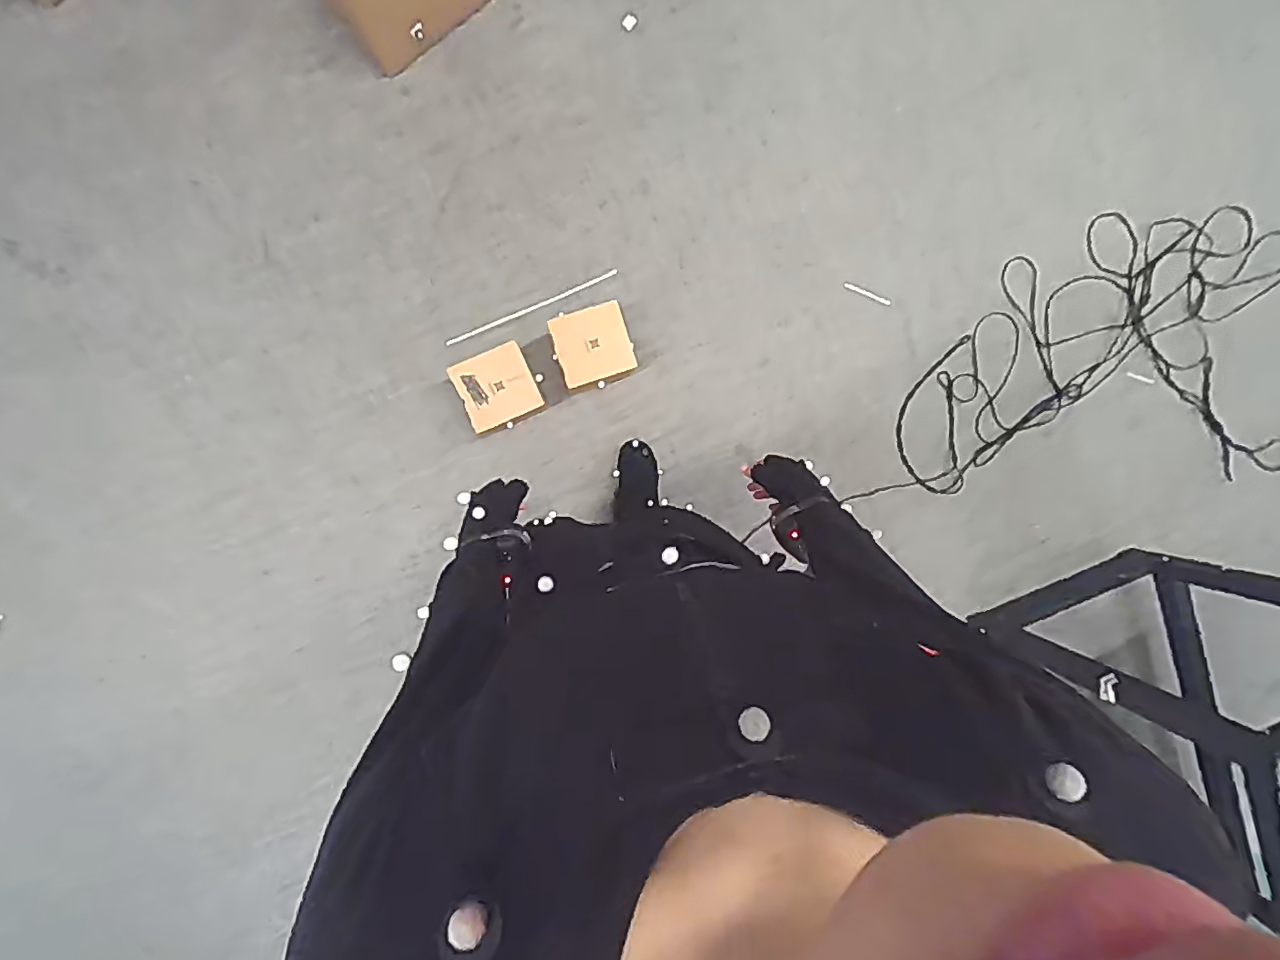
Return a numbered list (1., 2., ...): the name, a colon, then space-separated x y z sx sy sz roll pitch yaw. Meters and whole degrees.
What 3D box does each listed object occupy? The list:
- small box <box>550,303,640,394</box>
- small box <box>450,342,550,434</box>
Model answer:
1. small box: -0.112 -0.320 1.342 0.179 0.176 0.168 -19 96 -3
2. small box: -0.335 -0.217 1.329 0.179 0.176 0.168 -24 97 -4
